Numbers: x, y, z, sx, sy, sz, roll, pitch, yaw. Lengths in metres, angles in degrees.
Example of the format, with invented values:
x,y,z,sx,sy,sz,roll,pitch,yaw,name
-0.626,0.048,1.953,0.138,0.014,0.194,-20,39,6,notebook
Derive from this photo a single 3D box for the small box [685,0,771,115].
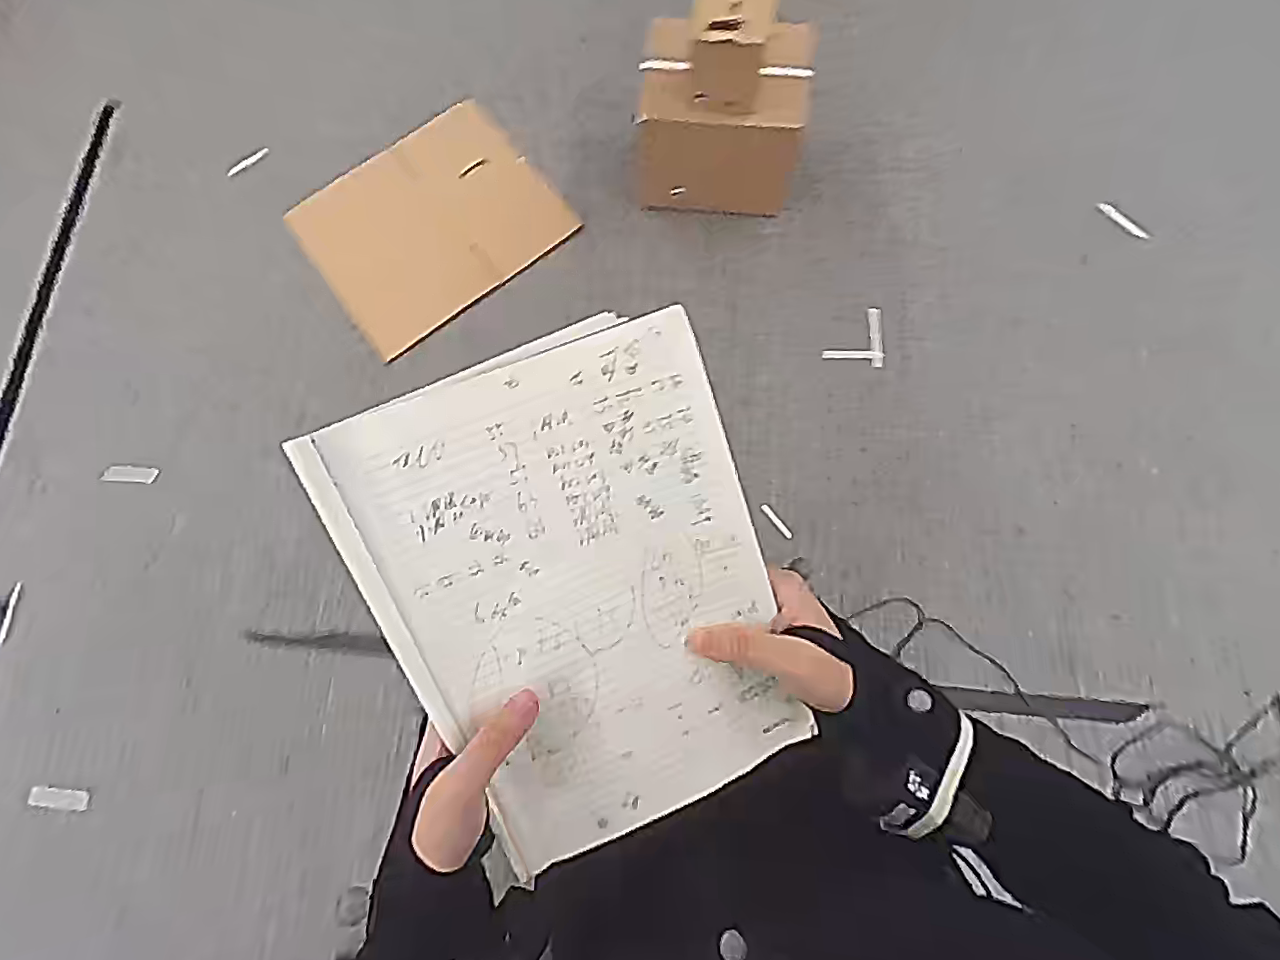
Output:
x,y,z,sx,sy,sz,roll,pitch,yaw,name
0.195,-0.970,1.225,0.168,0.176,0.179,9,78,5,small box
